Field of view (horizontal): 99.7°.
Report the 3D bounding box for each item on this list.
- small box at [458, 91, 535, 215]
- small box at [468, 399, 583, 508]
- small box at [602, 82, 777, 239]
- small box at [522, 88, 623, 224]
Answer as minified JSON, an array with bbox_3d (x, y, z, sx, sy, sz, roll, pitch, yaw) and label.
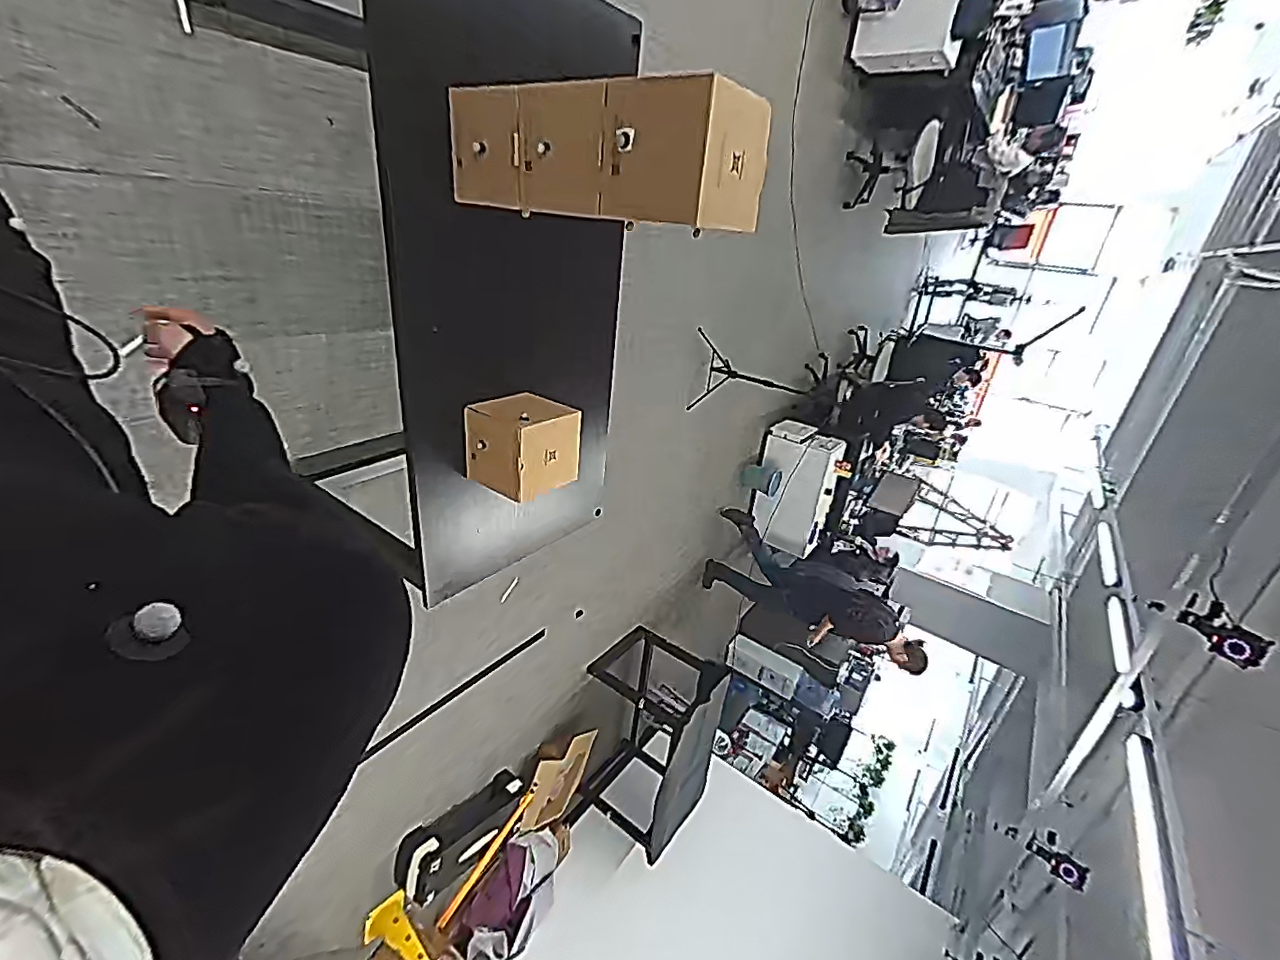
[{"bbox_3d":[-0.195,-0.547,0.926,0.179,0.176,0.168,-28,131,-47],"label":"small box"},{"bbox_3d":[-0.245,-0.065,1.159,0.179,0.176,0.168,-26,130,-49],"label":"small box"},{"bbox_3d":[0.068,-0.440,0.763,0.179,0.176,0.168,-27,130,-48],"label":"small box"},{"bbox_3d":[-0.062,-0.493,0.845,0.179,0.176,0.168,-27,130,-48],"label":"small box"}]
